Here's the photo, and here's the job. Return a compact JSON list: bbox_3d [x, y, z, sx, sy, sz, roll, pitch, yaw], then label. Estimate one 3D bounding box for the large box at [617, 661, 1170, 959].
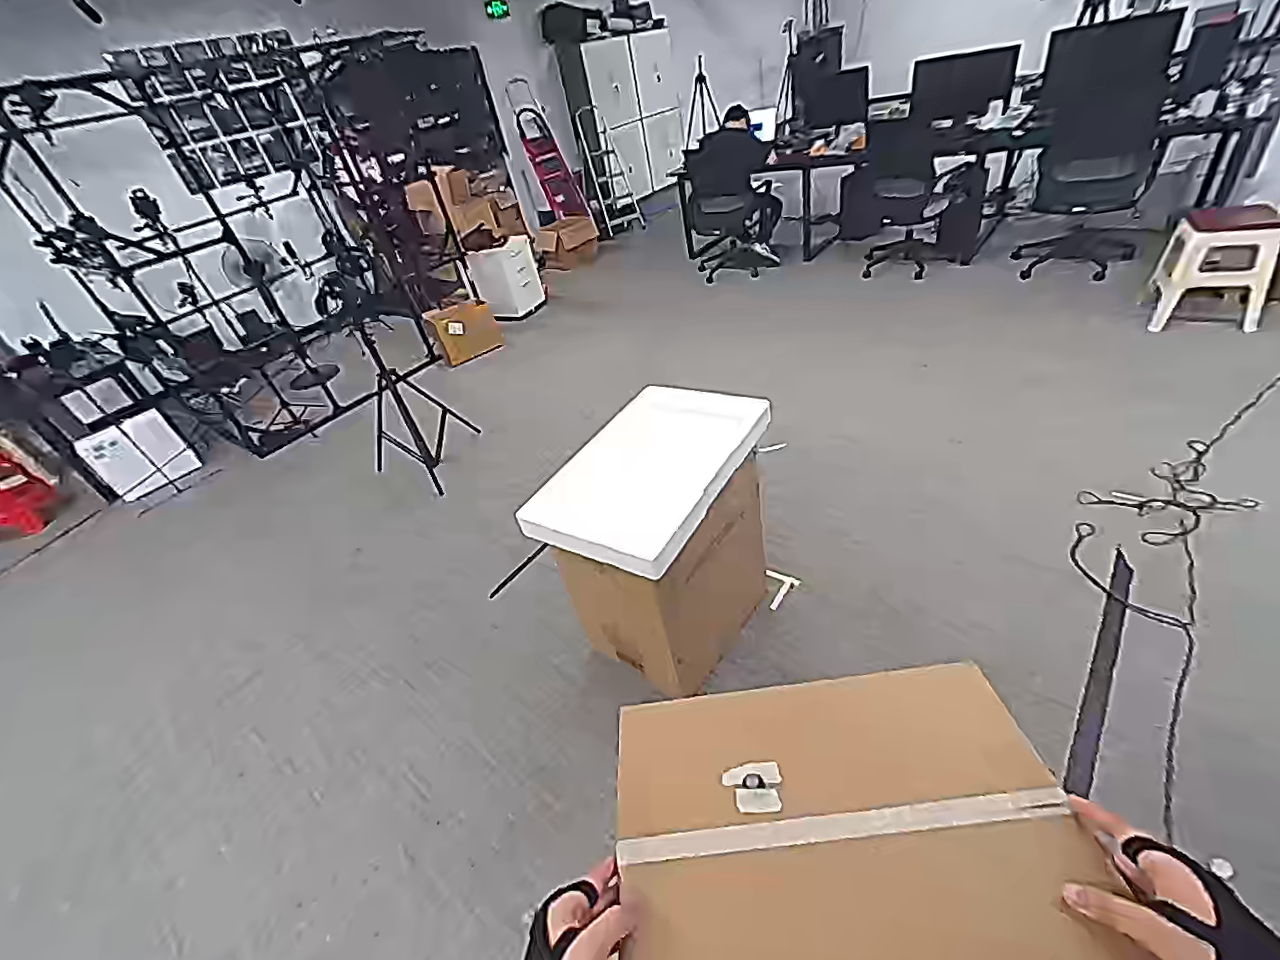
[{"bbox_3d":[0.204,0.441,0.562,0.408,0.320,0.320,-11,30,5],"label":"large box"}]
